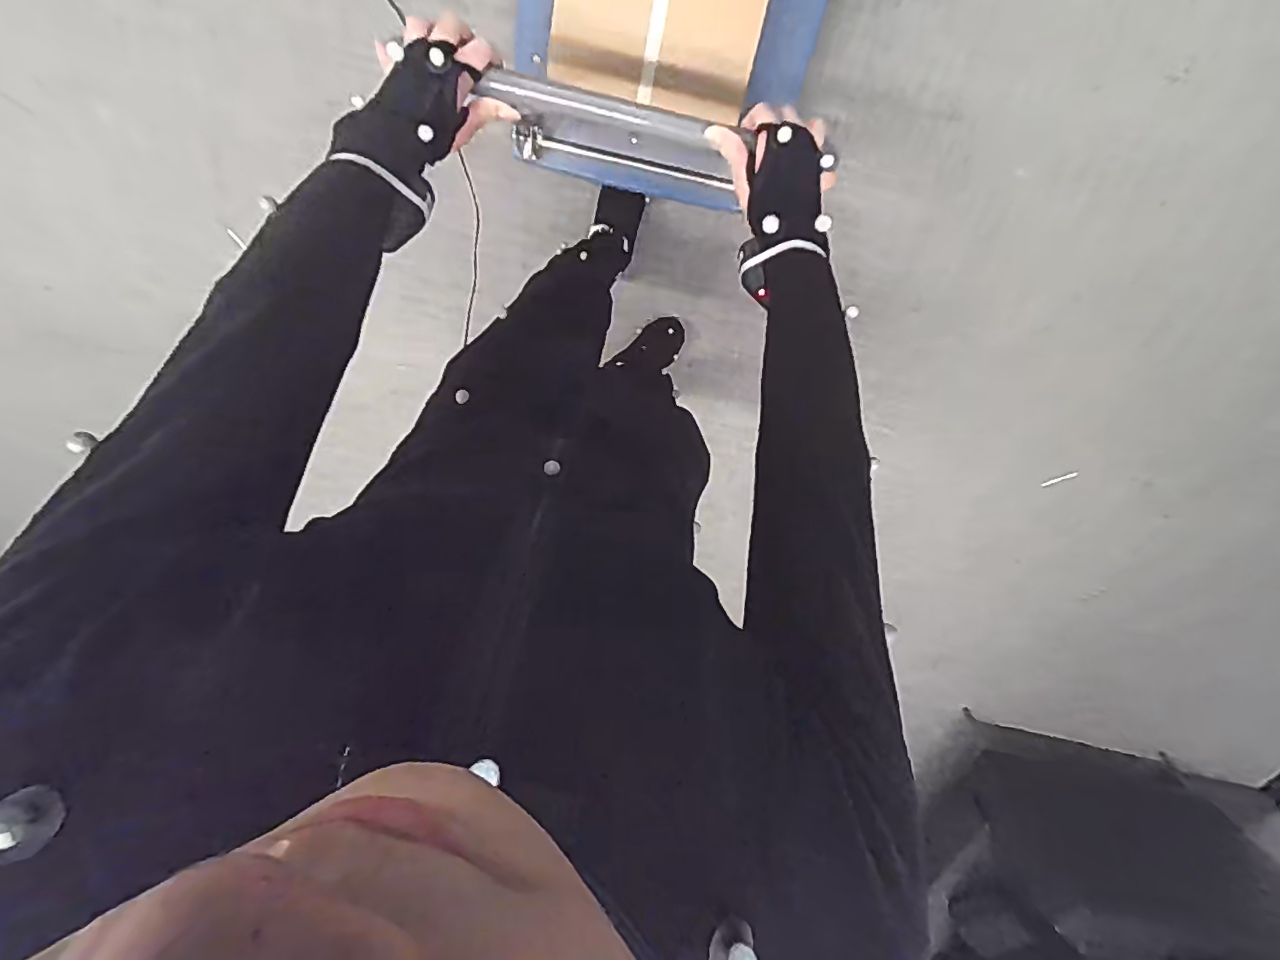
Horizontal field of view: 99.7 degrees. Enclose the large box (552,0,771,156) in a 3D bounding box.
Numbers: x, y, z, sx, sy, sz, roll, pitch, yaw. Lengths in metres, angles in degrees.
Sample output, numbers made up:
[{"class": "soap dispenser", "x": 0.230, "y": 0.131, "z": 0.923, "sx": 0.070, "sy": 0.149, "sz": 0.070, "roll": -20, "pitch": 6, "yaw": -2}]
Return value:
[{"class": "large box", "x": 0.055, "y": -0.815, "z": 0.912, "sx": 0.320, "sy": 0.320, "sz": 0.408, "roll": 12, "pitch": 117, "yaw": -2}]
